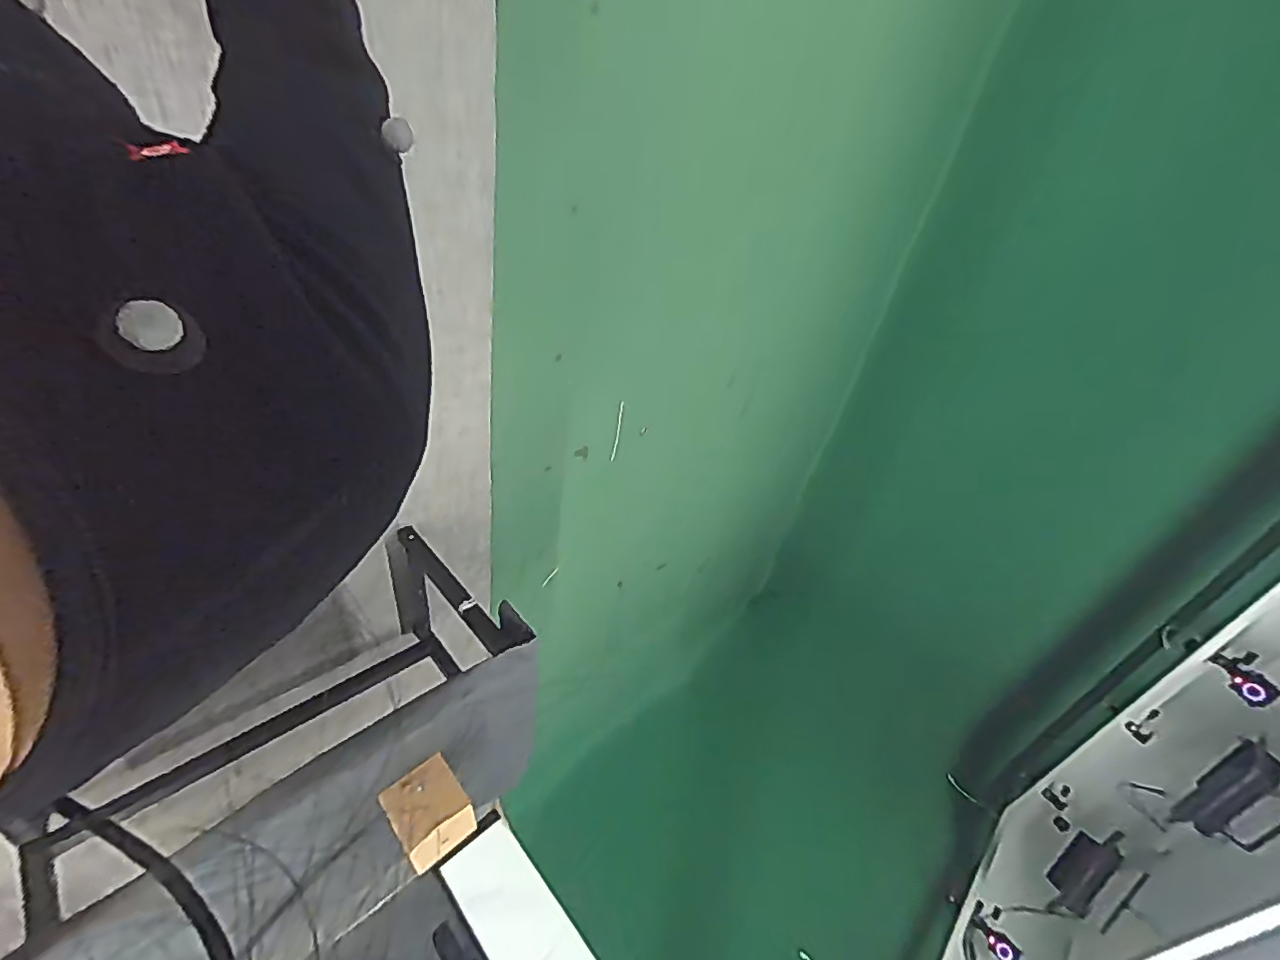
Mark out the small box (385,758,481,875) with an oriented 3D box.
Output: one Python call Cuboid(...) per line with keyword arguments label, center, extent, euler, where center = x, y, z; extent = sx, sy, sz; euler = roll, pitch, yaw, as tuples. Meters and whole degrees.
Cuboid(label="small box", center=(-0.534, 0.866, 1.403), extent=(0.168, 0.176, 0.179), euler=(-28, 140, -36))
